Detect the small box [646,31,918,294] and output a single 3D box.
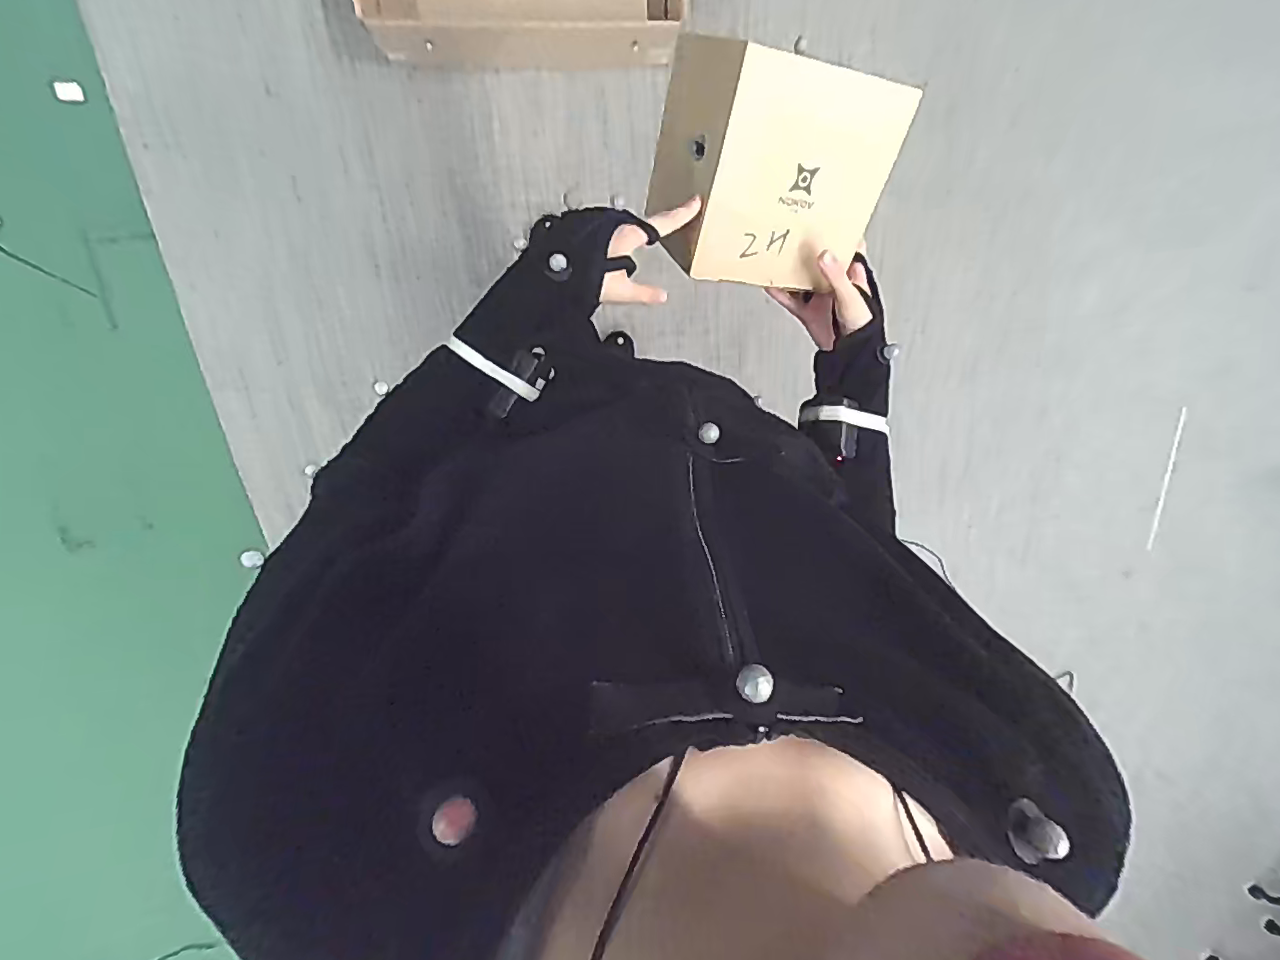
[{"bbox_3d":[0.114,-0.304,0.522,0.168,0.176,0.179,0,131,-18],"label":"small box"}]
